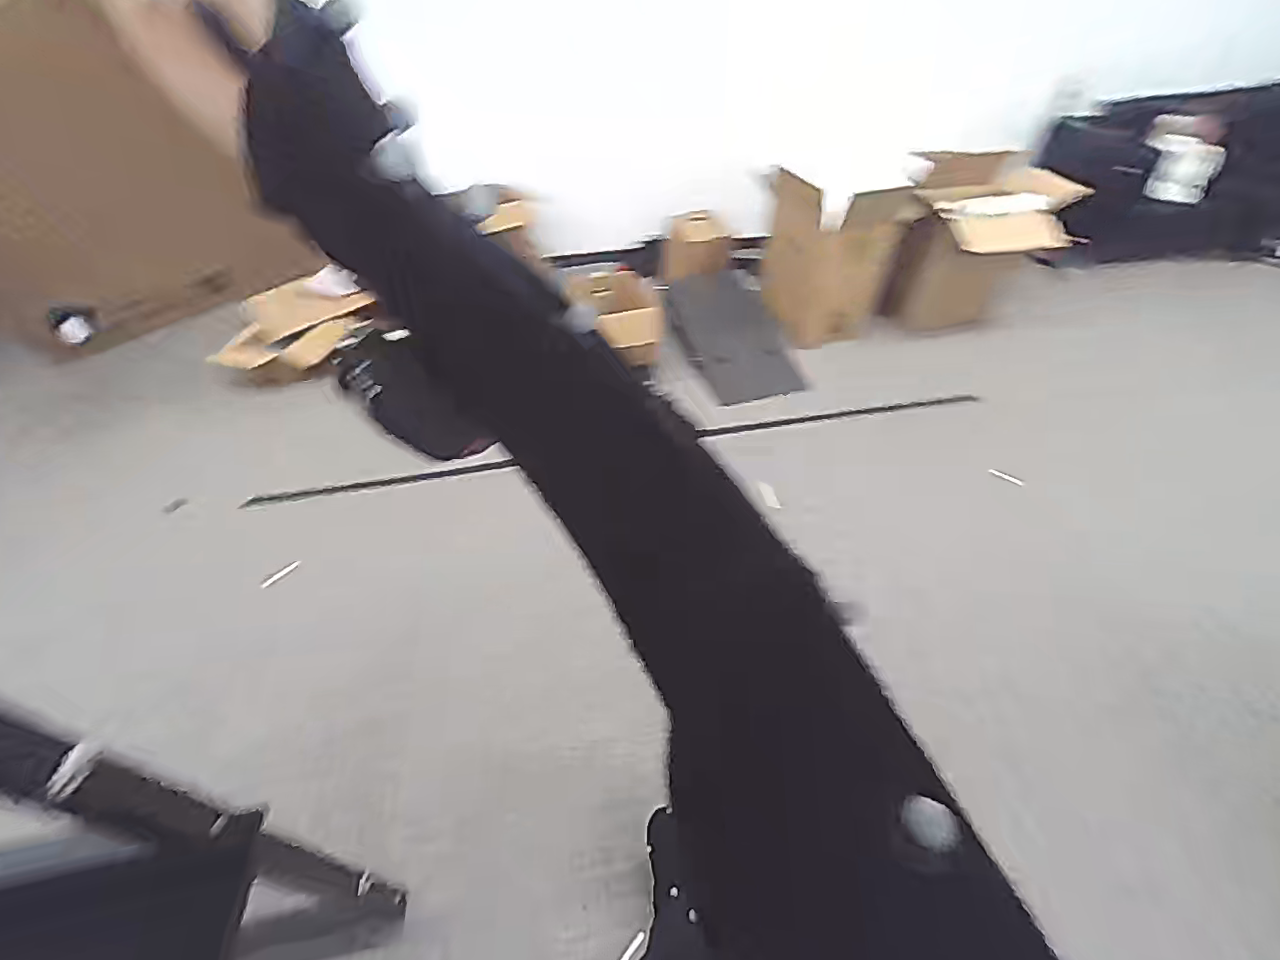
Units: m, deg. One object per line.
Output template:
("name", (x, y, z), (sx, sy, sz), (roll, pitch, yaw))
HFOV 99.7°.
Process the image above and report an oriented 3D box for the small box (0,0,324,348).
("small box", (-0.314, -0.198, 0.301), (0.168, 0.176, 0.179), (-26, 73, -11))
